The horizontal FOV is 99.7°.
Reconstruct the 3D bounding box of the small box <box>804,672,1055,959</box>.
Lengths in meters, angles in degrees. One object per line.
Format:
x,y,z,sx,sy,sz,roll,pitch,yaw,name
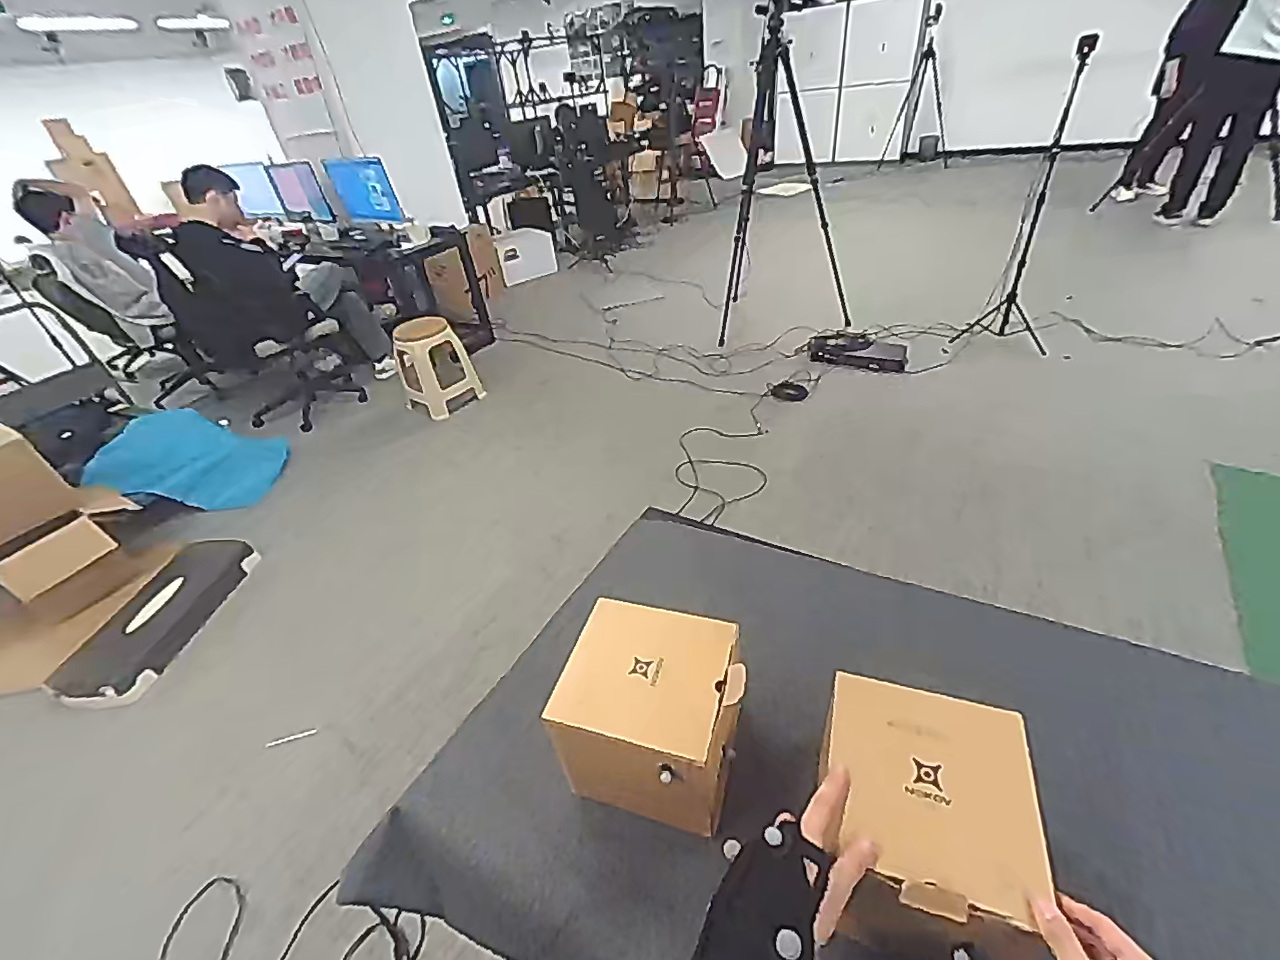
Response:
0.252,0.321,0.511,0.168,0.176,0.179,8,38,19,small box

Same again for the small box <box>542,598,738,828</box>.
0.013,0.266,0.628,0.179,0.176,0.168,7,38,18,small box
